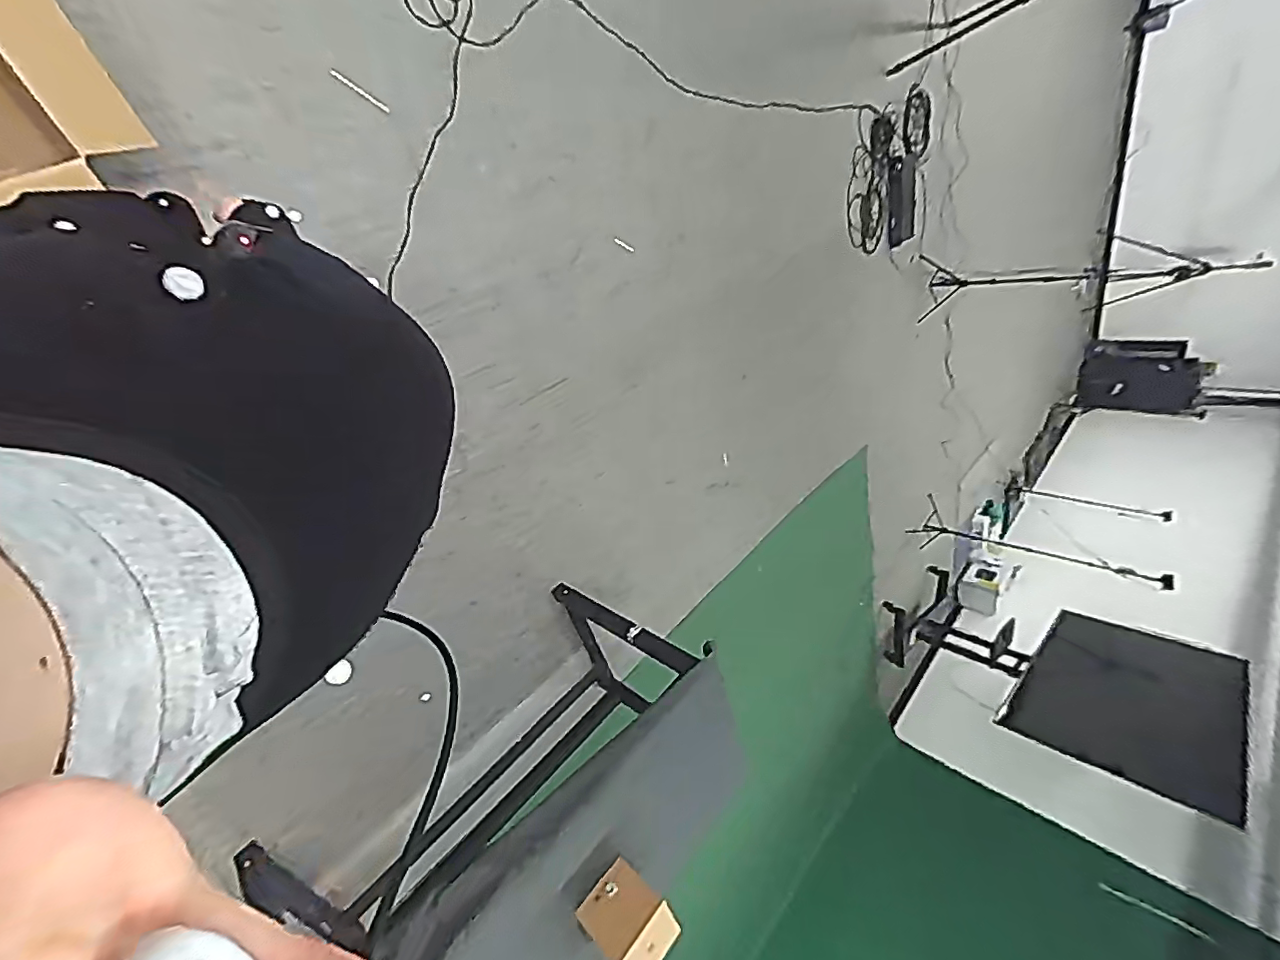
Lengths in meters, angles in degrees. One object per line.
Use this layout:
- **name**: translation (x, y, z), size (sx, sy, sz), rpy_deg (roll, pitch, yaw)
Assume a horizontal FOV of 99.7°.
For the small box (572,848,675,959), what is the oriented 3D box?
- **small box**: translation (-0.042, 1.092, 1.378), size (0.168, 0.176, 0.179), rpy_deg (-40, 126, -31)
